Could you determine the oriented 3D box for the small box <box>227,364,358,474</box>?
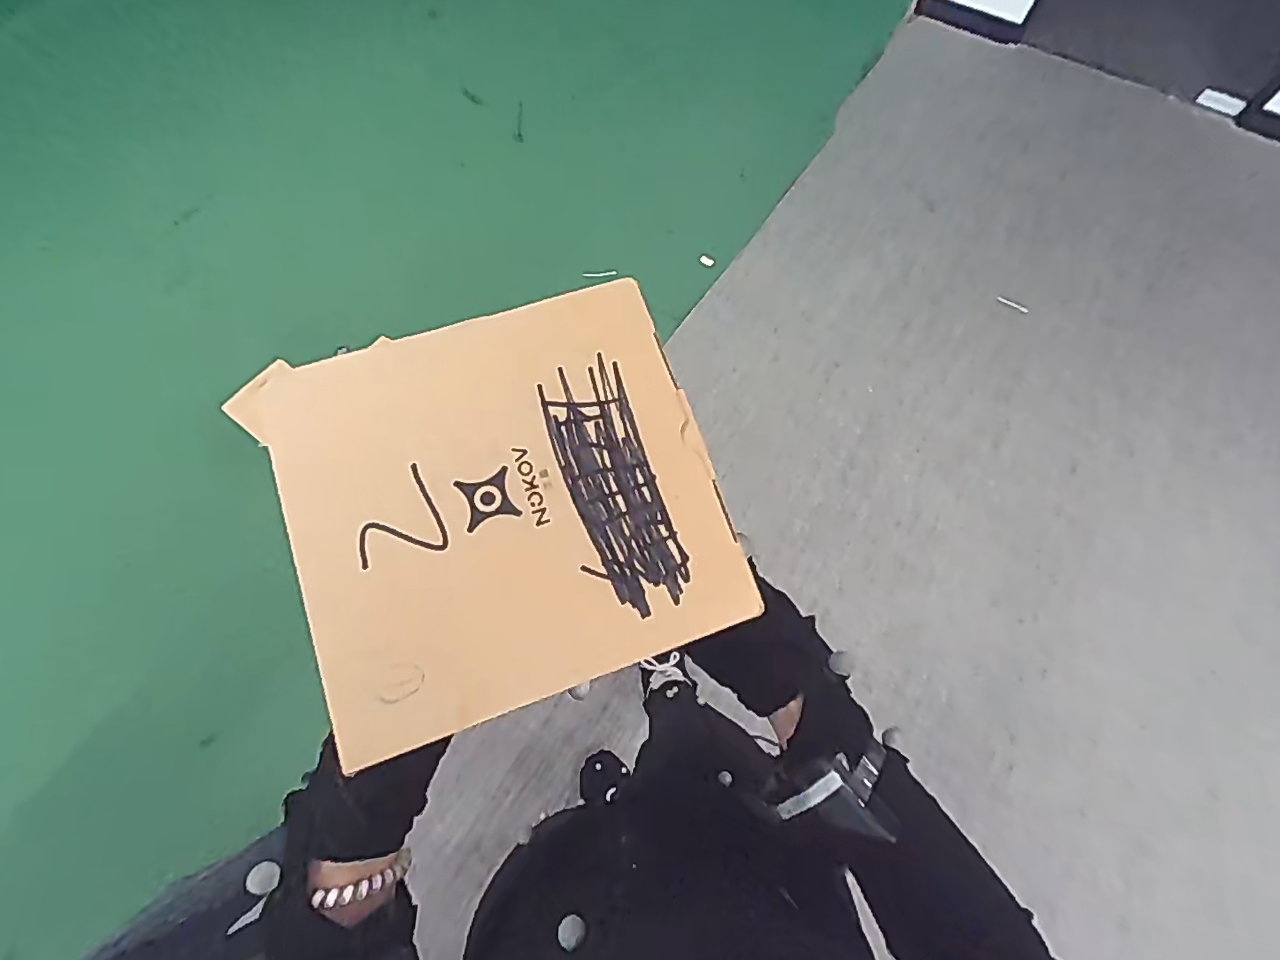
[{"bbox_3d":[-0.845,-0.143,1.335,0.168,0.176,0.179,36,71,14],"label":"small box"}]
